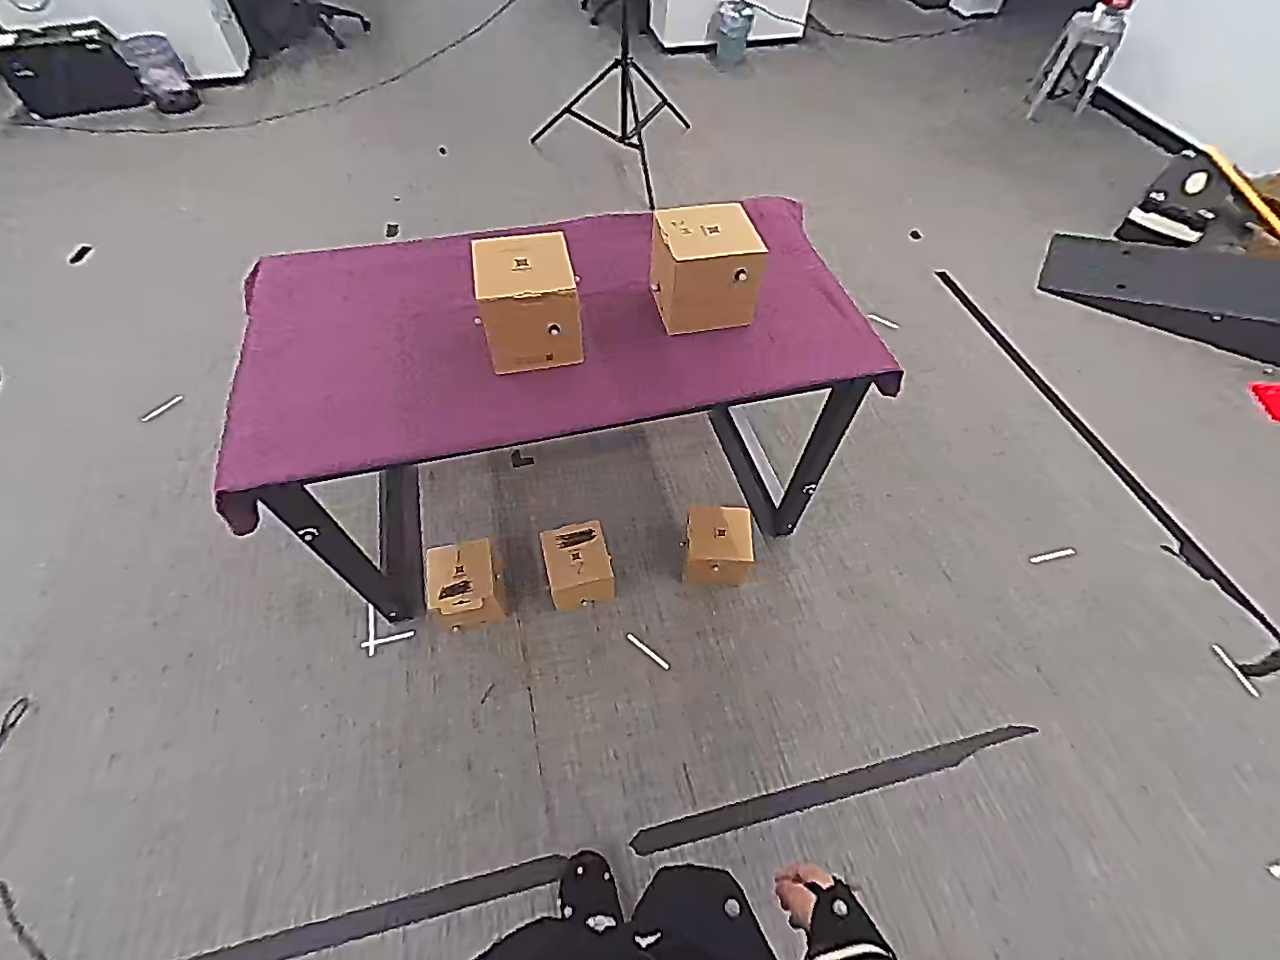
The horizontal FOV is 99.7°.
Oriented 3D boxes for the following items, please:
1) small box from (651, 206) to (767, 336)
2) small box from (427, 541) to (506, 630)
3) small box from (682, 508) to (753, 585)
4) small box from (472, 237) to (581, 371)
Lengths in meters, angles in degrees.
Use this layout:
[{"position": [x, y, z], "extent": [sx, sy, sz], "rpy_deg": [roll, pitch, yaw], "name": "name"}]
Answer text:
[{"position": [0.125, -0.407, 1.063], "extent": [0.179, 0.176, 0.168], "rpy_deg": [-10, 56, -8], "name": "small box"}, {"position": [-0.464, 0.291, 1.456], "extent": [0.168, 0.176, 0.179], "rpy_deg": [-10, 56, -9], "name": "small box"}, {"position": [0.216, 0.194, 1.544], "extent": [0.179, 0.176, 0.168], "rpy_deg": [2, 57, 1], "name": "small box"}, {"position": [-0.204, -0.315, 0.993], "extent": [0.168, 0.176, 0.179], "rpy_deg": [-10, 55, -10], "name": "small box"}]
